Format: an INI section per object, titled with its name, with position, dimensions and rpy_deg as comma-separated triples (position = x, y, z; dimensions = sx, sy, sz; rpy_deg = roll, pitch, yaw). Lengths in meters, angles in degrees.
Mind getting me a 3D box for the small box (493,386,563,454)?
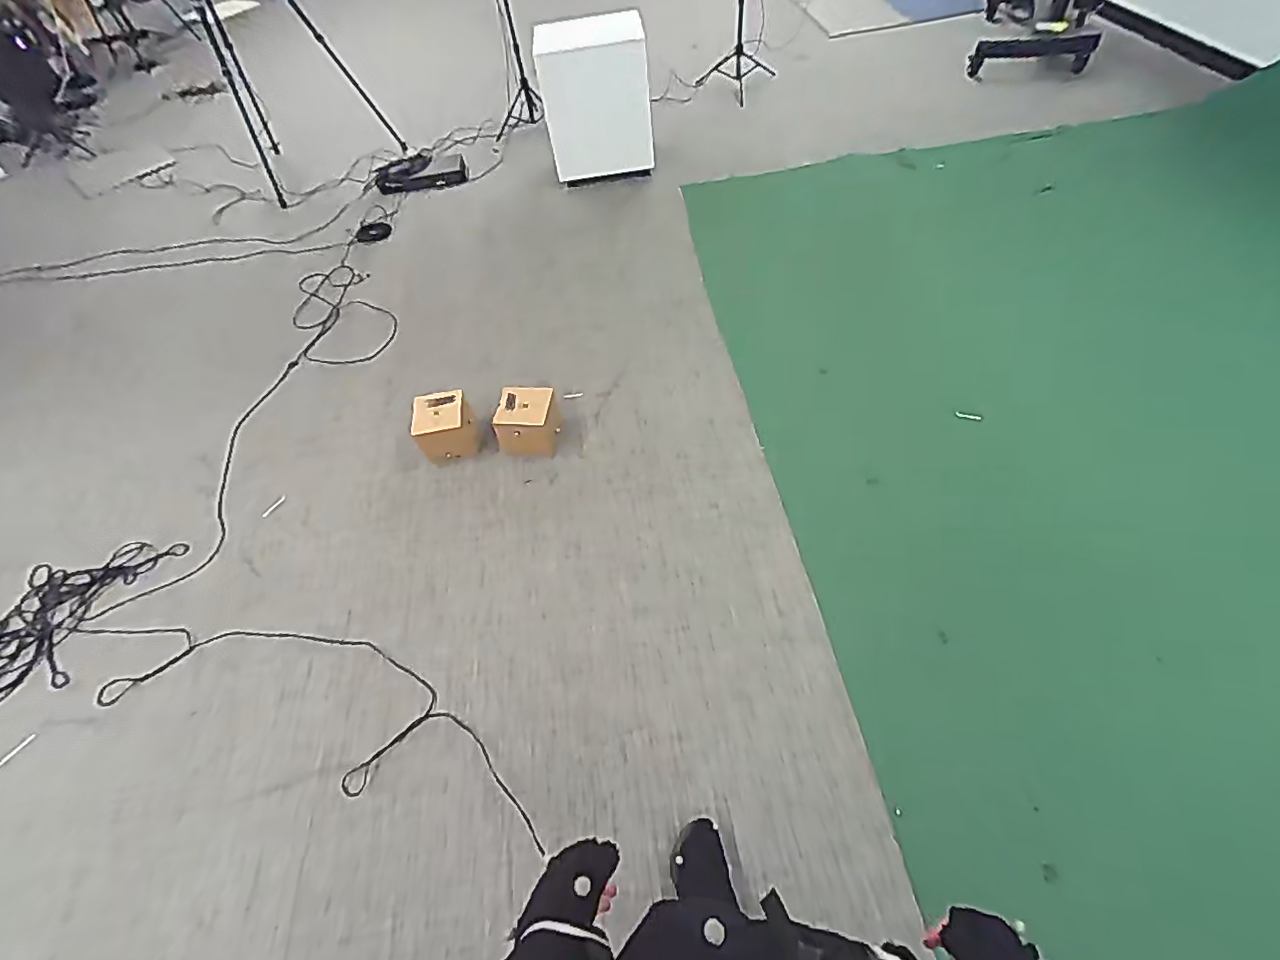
[small box]
position = -0.378, -0.202, 1.855
dimensions = 0.179, 0.176, 0.168
rpy_deg = 3, 56, 7
